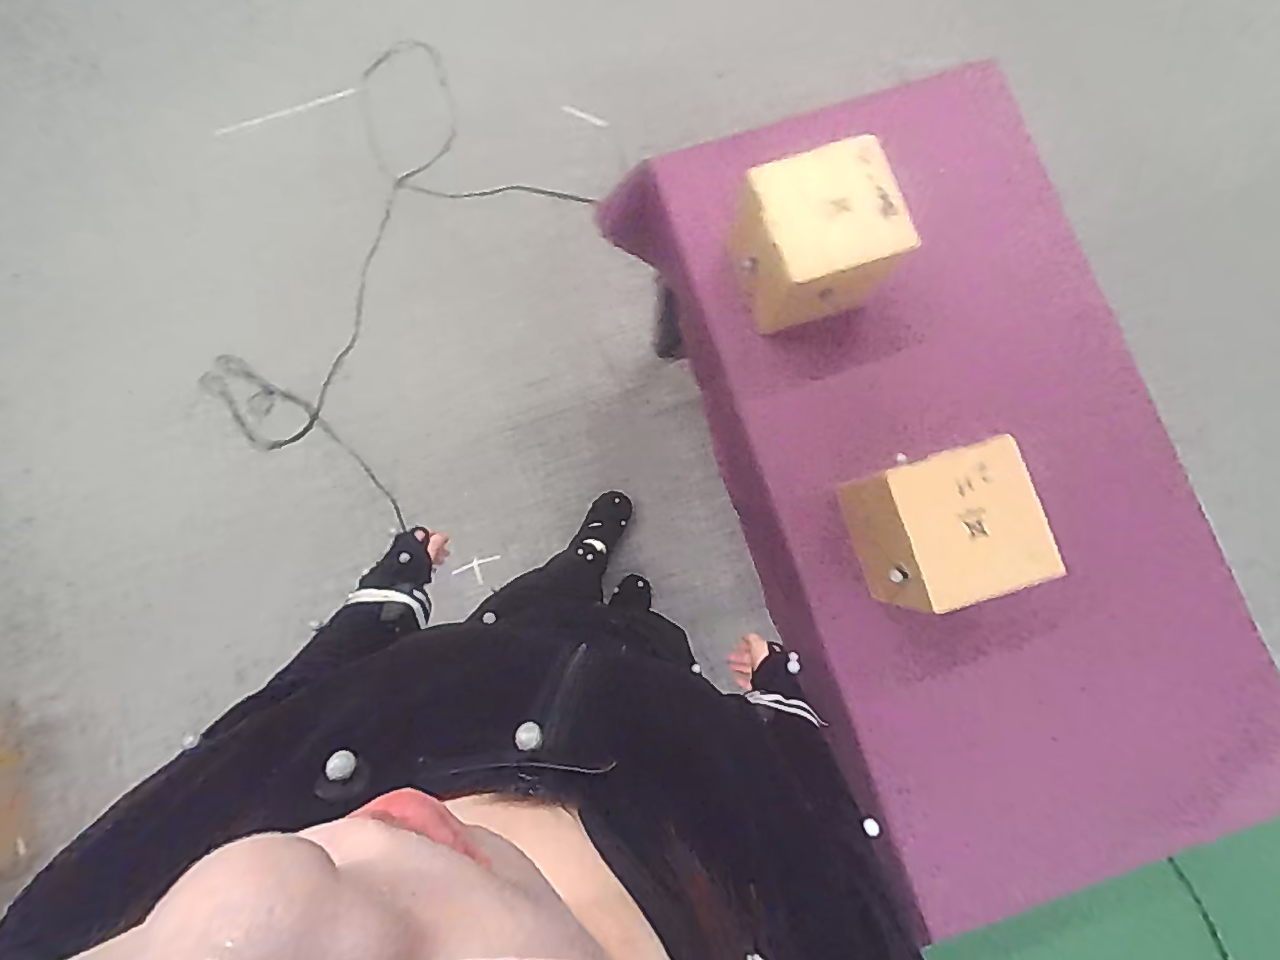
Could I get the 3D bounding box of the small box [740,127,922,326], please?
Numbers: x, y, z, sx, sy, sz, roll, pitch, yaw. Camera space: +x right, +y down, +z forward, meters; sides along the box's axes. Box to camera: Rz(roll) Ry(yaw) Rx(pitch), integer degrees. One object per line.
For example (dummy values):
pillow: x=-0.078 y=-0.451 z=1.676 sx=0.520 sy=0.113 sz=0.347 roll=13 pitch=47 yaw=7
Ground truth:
small box: x=0.248 y=-0.340 z=0.758 sx=0.179 sy=0.176 sz=0.168 roll=-17 pitch=84 yaw=-1

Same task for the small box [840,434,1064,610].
small box: x=0.391 y=0.056 z=0.710 sx=0.168 sy=0.176 sz=0.179 roll=-15 pitch=83 yaw=-2
